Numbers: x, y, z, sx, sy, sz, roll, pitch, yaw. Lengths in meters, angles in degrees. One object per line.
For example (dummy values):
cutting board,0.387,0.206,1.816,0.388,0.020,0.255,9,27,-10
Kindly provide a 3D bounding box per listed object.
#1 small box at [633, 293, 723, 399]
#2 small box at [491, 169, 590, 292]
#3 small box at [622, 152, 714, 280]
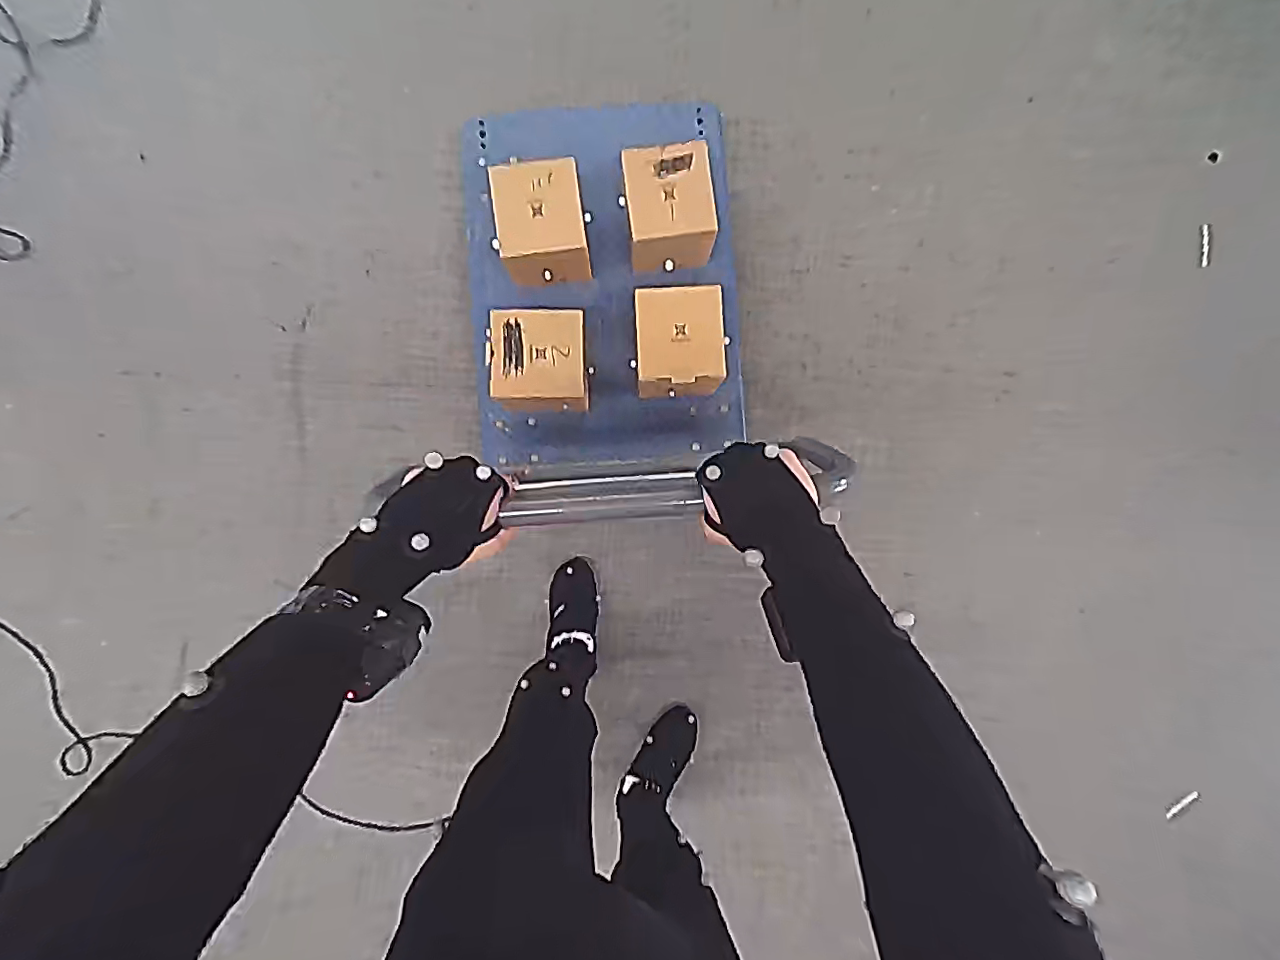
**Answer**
small box,0.072,-0.271,1.120,0.168,0.176,0.179,-3,89,-1
small box,-0.198,-0.504,1.119,0.168,0.176,0.179,-8,89,-2
small box,0.052,-0.540,1.125,0.168,0.176,0.179,-8,90,0
